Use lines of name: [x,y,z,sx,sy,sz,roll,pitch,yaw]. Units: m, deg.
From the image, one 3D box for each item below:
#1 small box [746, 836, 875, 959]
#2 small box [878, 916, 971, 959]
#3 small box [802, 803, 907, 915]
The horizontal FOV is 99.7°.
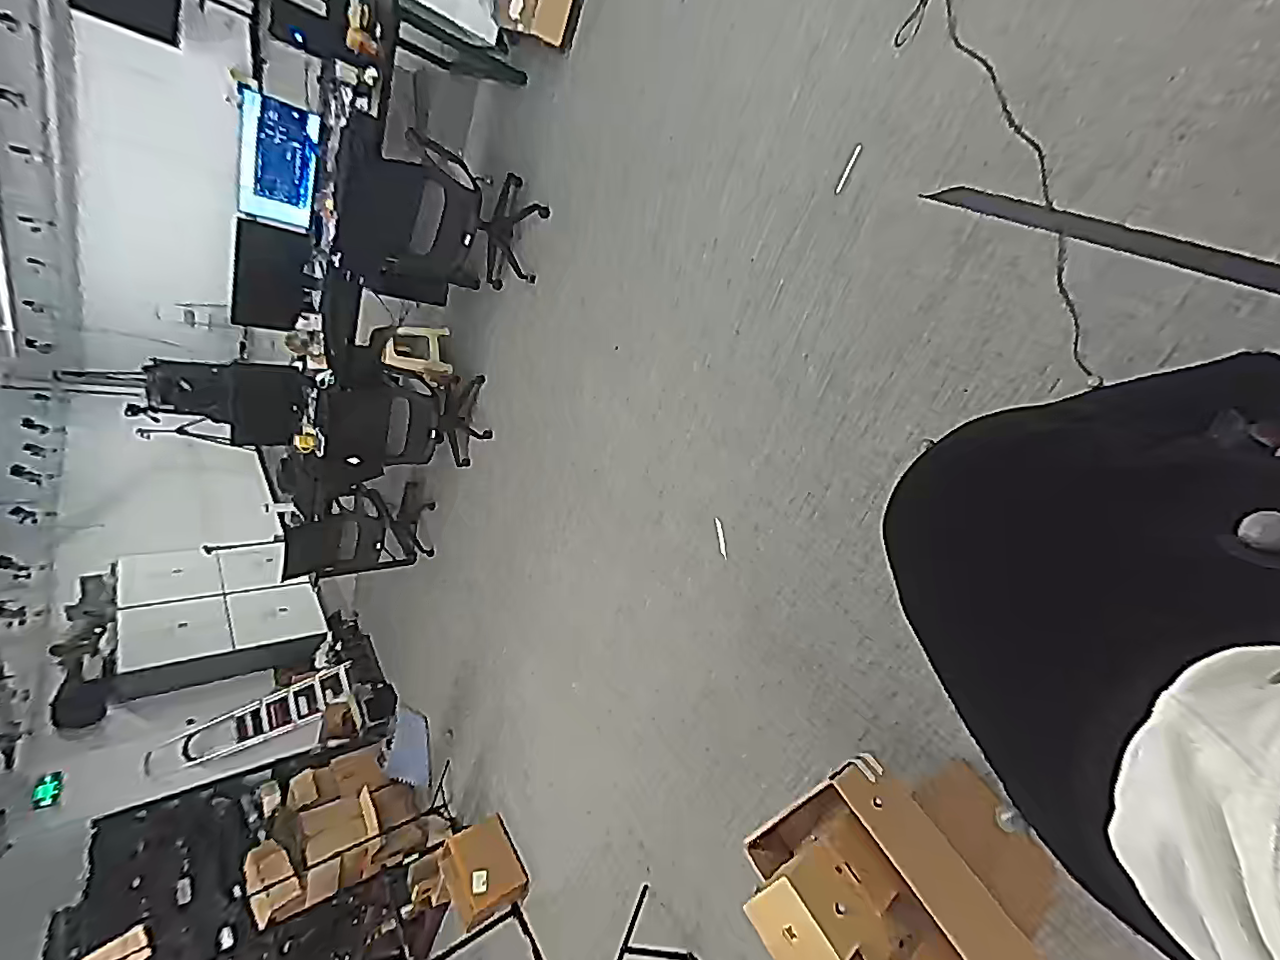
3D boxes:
small box: [0.369,0.907,1.152,0.168,0.176,0.179,50,127,33]
small box: [0.616,1.083,1.137,0.179,0.176,0.168,49,126,34]
small box: [0.489,0.898,1.261,0.168,0.176,0.179,49,127,33]
